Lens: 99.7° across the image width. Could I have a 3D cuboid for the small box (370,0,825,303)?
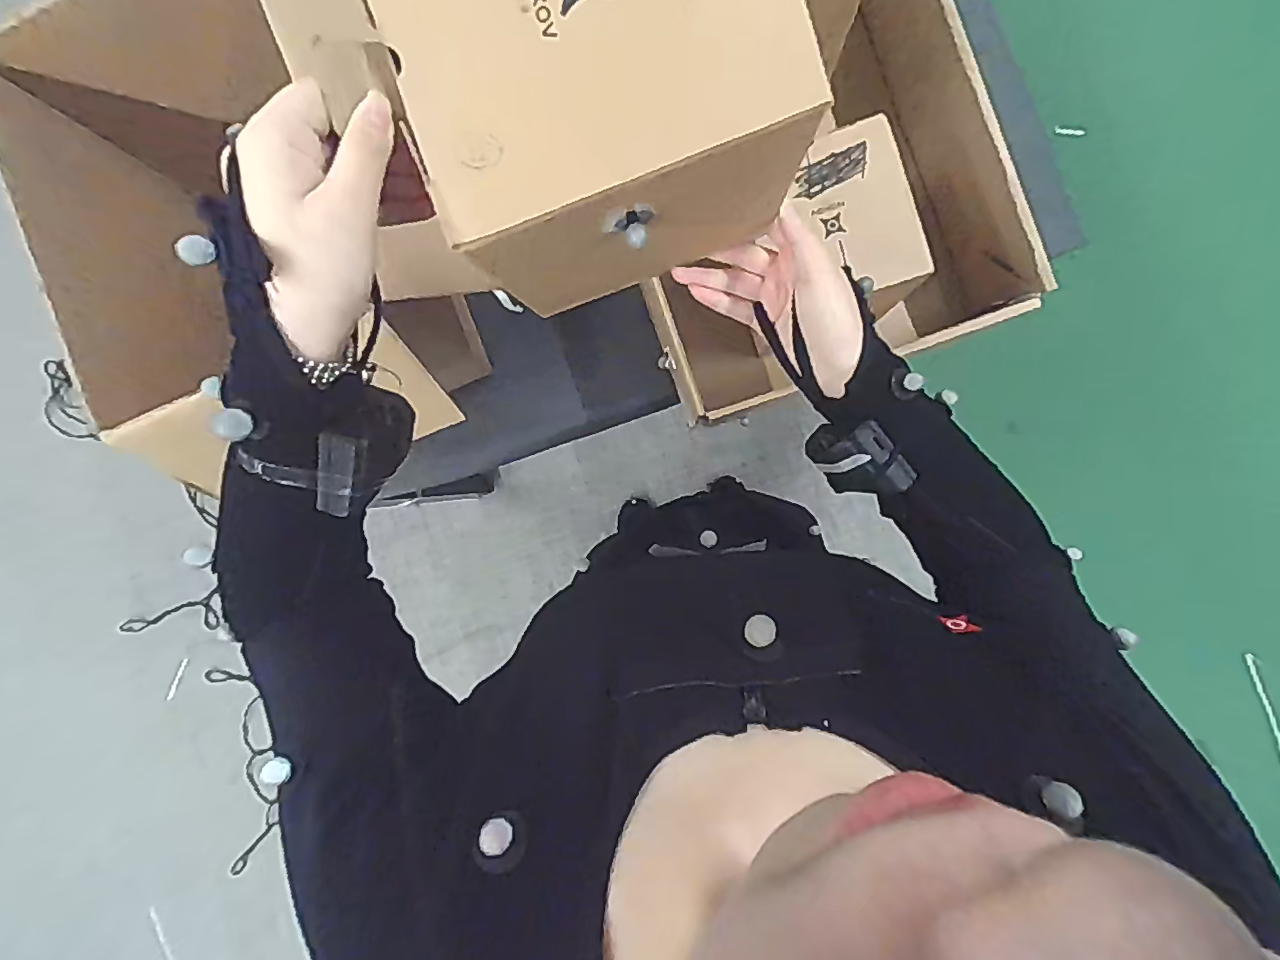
[{"bbox_3d":[-0.021,-0.218,0.310,0.179,0.176,0.168,-18,97,6],"label":"small box"}]
